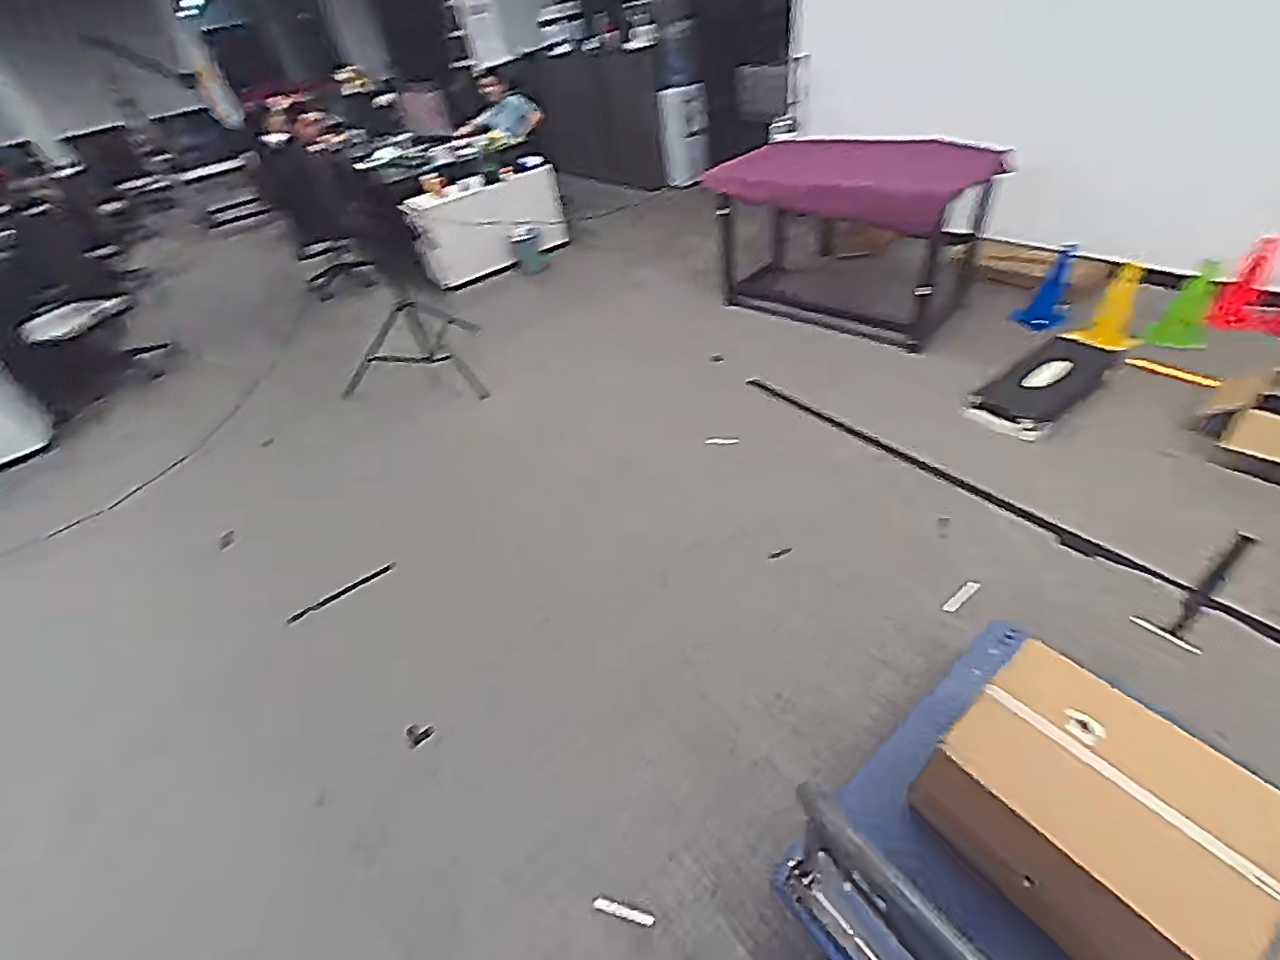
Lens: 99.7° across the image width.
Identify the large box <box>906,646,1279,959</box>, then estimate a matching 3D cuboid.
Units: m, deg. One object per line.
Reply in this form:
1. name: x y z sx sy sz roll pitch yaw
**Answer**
1. large box: 0.773 0.599 0.977 0.320 0.320 0.408 -32 45 -21
